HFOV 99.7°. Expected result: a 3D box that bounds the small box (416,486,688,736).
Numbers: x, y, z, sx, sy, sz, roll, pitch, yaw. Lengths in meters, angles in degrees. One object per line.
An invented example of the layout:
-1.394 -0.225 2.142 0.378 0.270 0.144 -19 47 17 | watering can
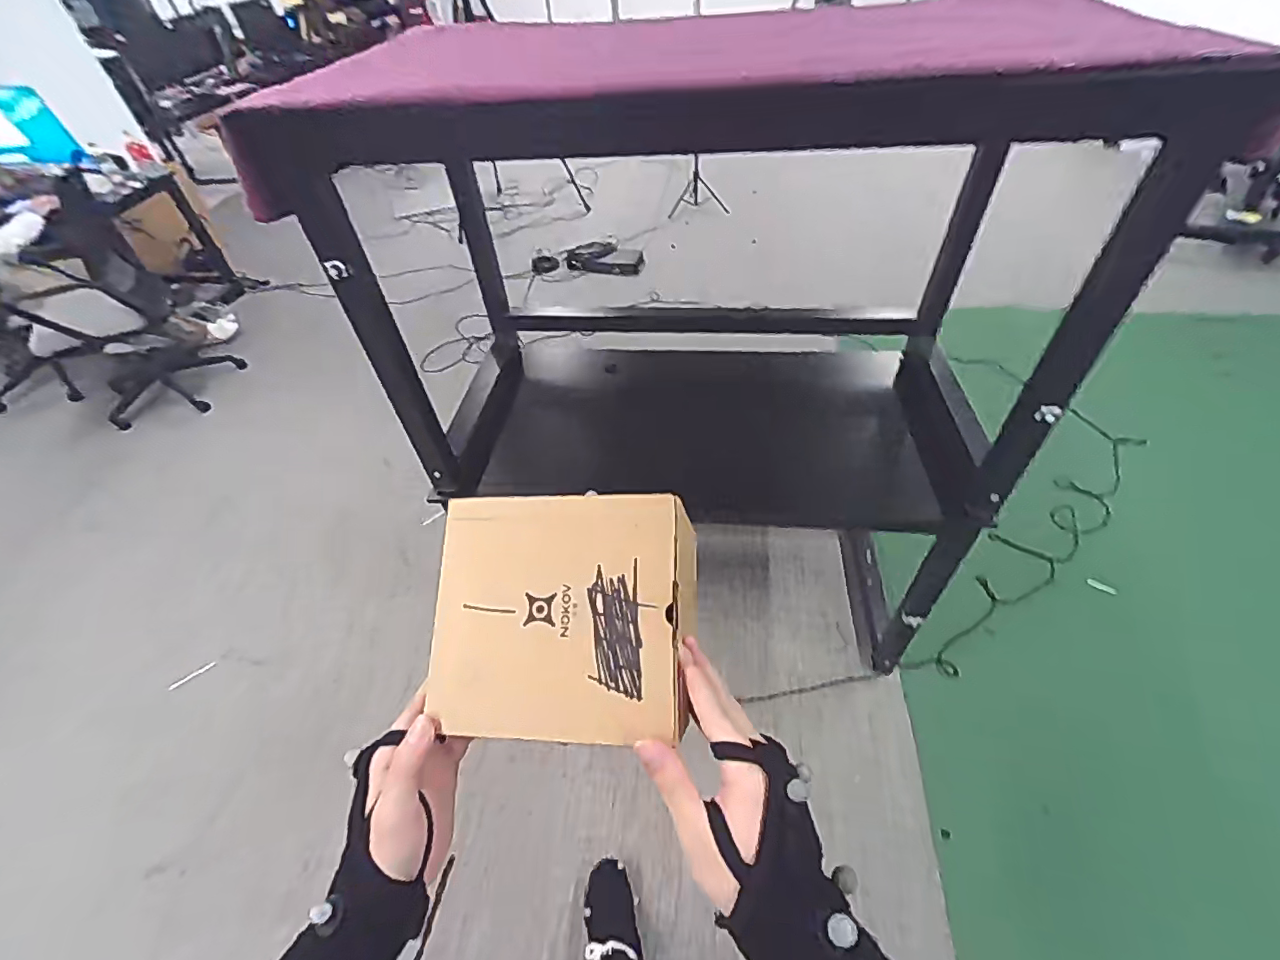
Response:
-0.052 0.103 0.450 0.179 0.176 0.168 -1 75 10 | small box
